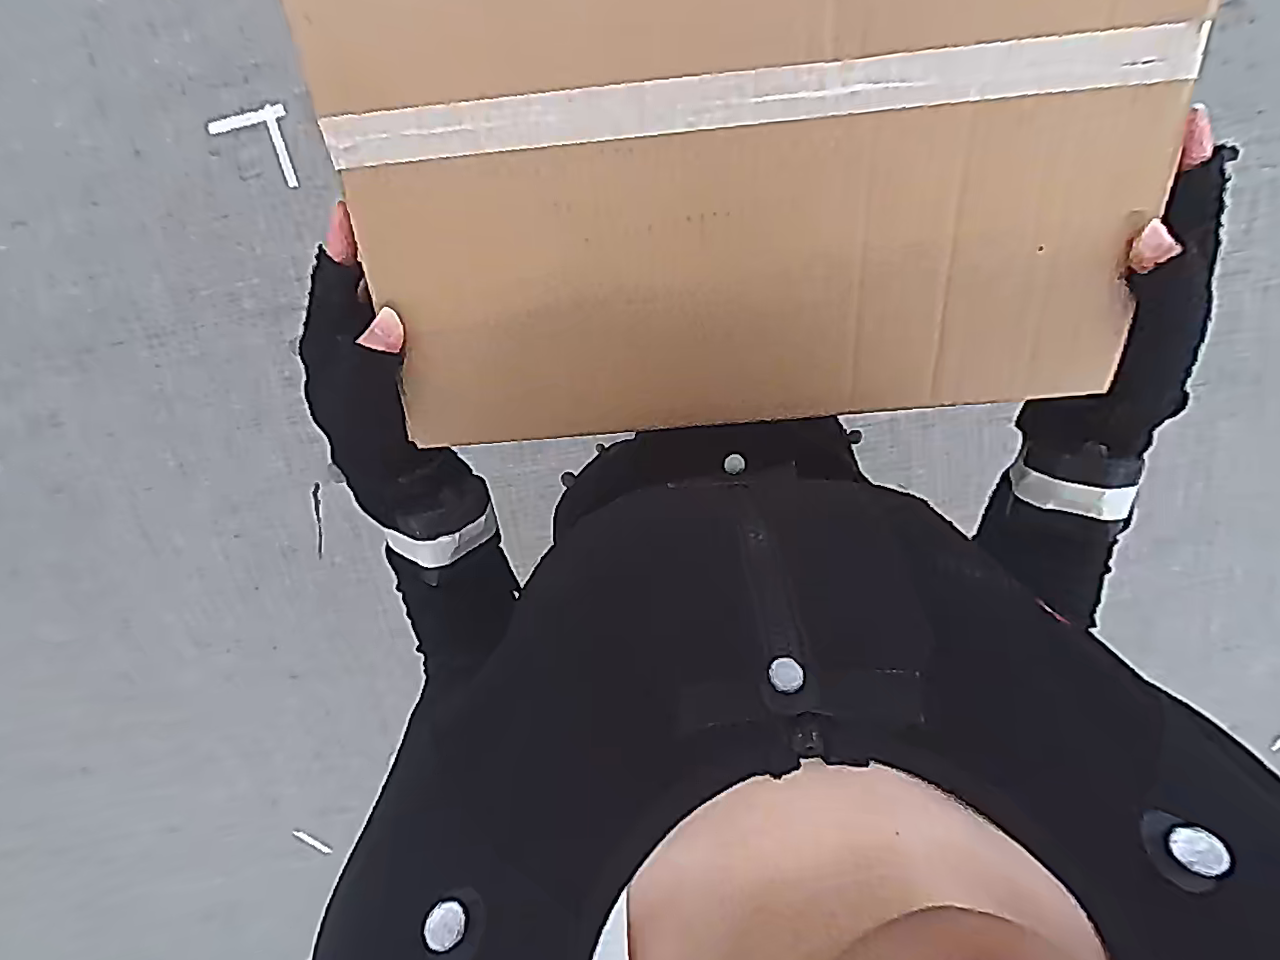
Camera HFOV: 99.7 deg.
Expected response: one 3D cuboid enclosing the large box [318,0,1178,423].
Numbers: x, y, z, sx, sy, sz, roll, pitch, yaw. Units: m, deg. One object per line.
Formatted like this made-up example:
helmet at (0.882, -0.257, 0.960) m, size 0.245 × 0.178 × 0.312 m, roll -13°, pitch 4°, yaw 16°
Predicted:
large box at (0.050, -0.251, 0.400) m, size 0.408 × 0.320 × 0.320 m, roll -5°, pitch 115°, yaw 2°
